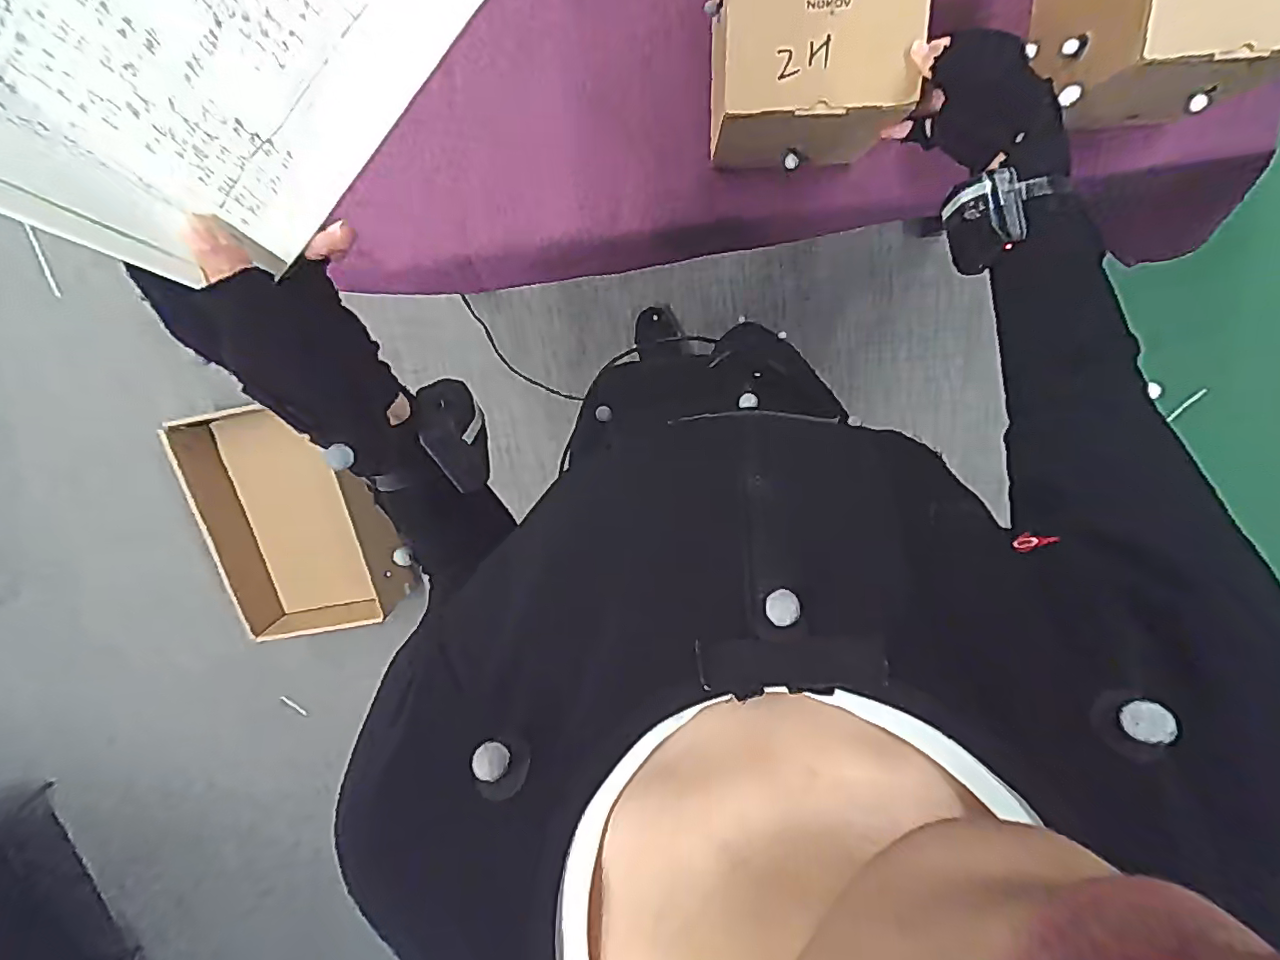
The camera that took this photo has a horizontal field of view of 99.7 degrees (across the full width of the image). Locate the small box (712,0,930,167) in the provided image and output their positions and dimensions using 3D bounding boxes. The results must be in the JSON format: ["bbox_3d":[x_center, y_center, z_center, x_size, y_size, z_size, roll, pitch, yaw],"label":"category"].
[{"bbox_3d":[0.157,-0.422,0.516,0.168,0.176,0.179,0,106,4],"label":"small box"}]
